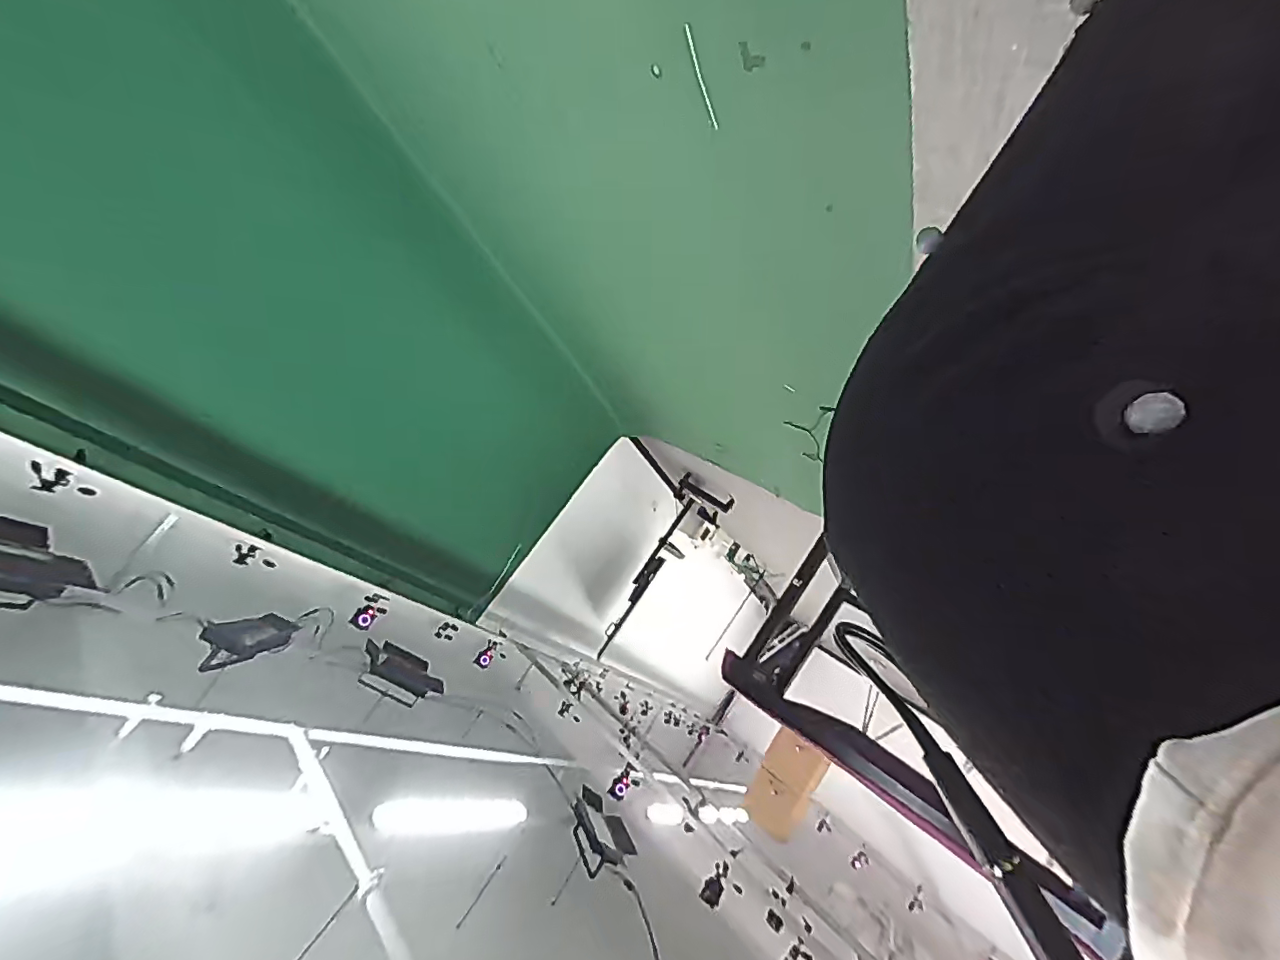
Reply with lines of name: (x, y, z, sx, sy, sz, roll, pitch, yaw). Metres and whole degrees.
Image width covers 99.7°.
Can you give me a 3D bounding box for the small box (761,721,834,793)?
small box: (0.571, 0.991, 1.948, 0.179, 0.176, 0.168, 29, 170, 39)
